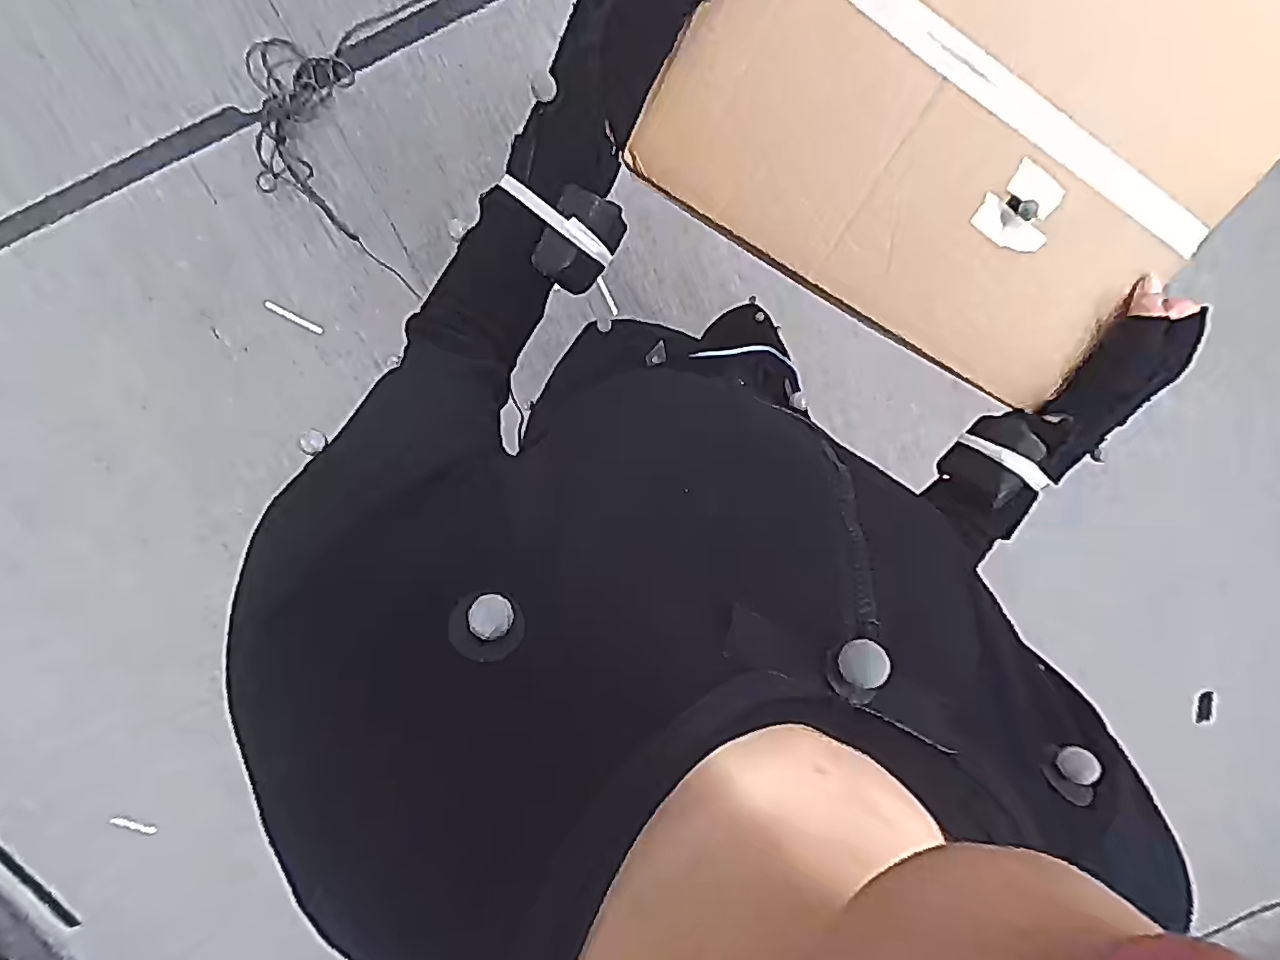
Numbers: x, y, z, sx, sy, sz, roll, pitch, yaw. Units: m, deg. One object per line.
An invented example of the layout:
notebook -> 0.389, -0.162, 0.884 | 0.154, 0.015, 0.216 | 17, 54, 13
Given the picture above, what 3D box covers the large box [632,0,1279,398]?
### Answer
large box -> 0.235, -0.340, 0.506 | 0.408, 0.320, 0.320 | 26, 116, -14
